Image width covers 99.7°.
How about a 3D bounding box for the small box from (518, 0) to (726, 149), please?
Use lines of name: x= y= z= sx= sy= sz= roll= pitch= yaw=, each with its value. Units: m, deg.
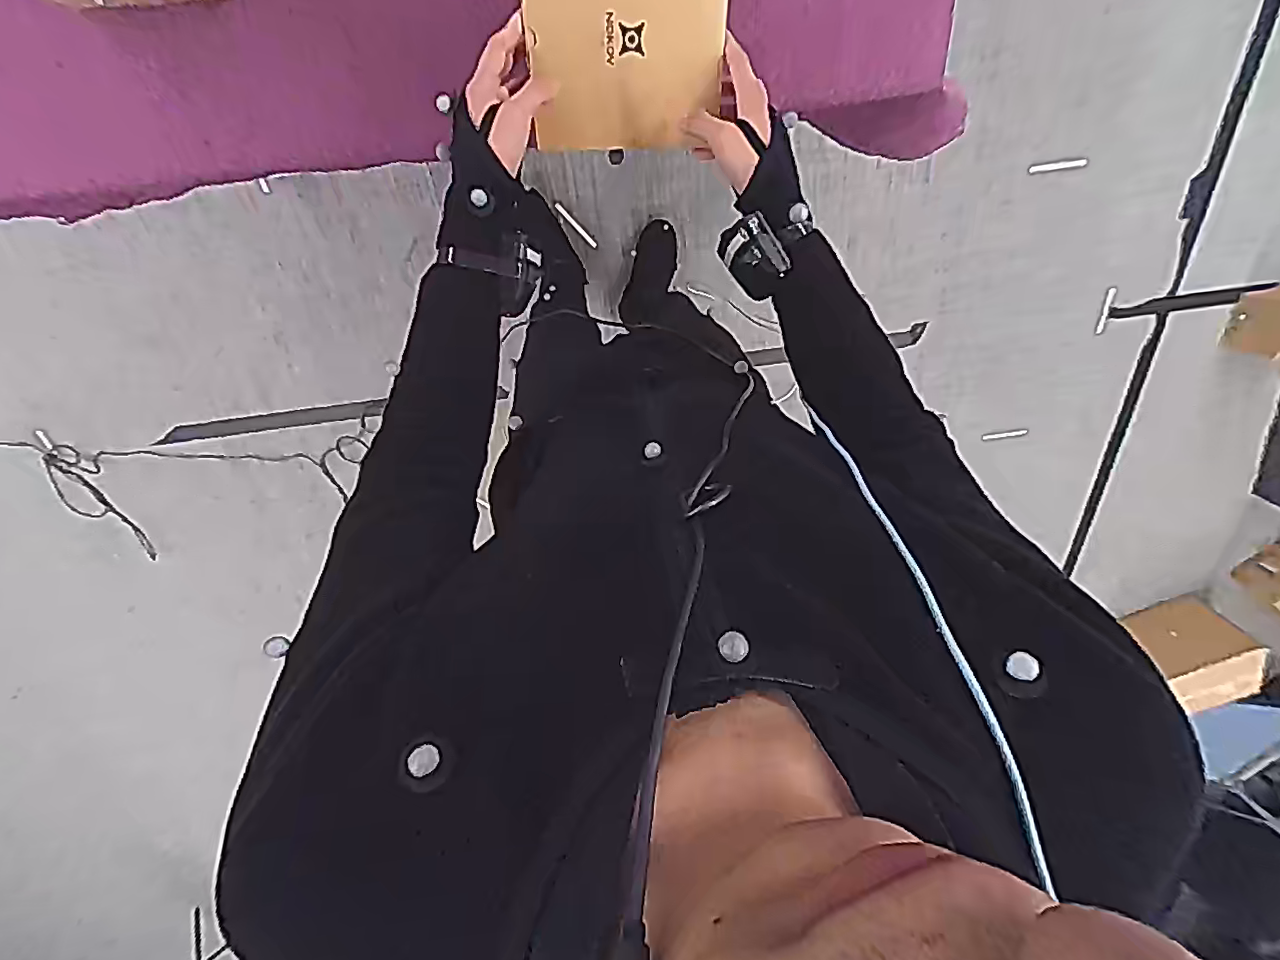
small box: x=-0.023 y=-0.429 z=0.524 sx=0.179 sy=0.176 sz=0.168 roll=-4 pitch=129 yaw=-5
